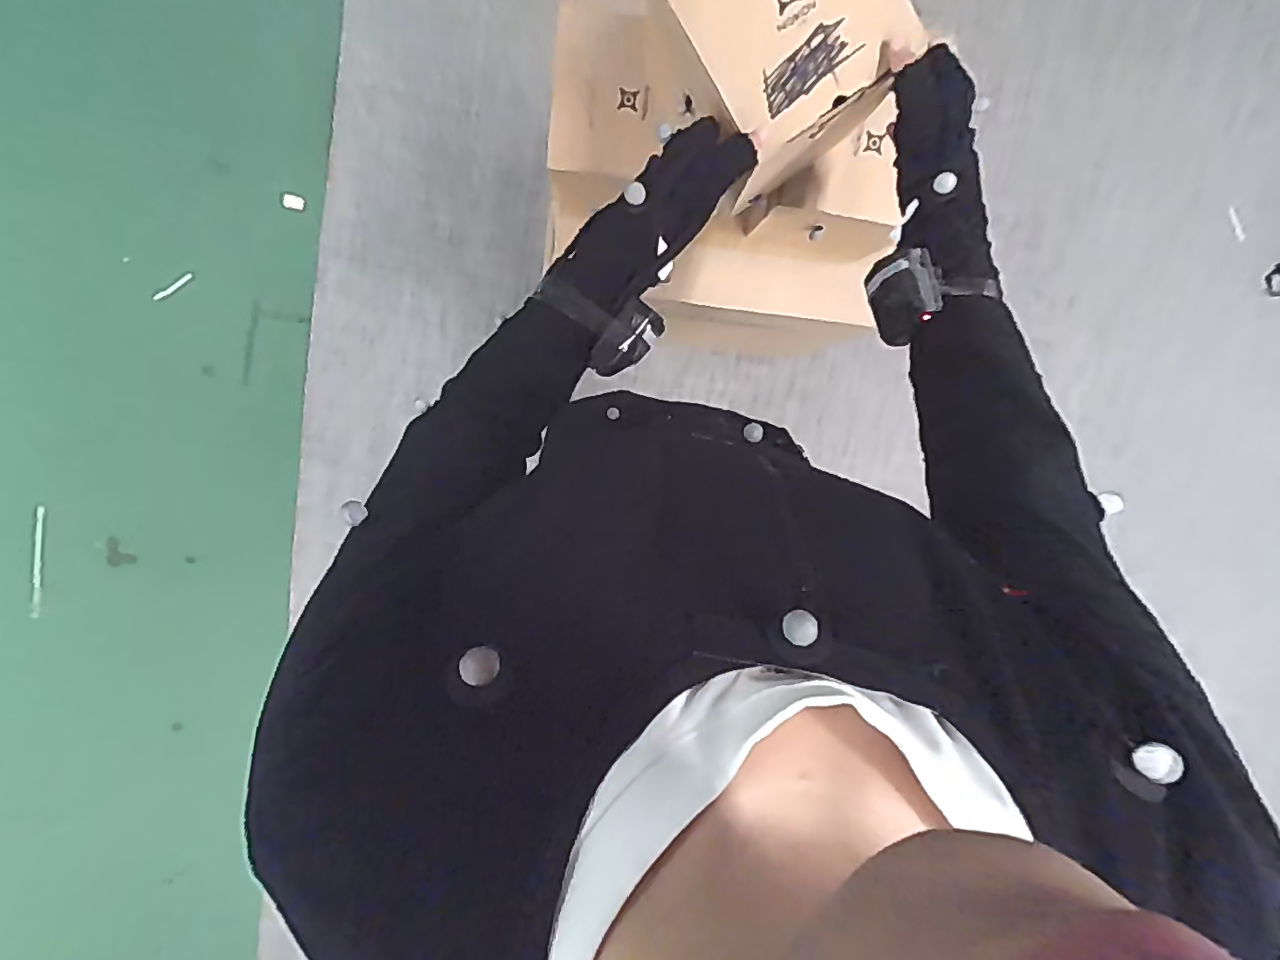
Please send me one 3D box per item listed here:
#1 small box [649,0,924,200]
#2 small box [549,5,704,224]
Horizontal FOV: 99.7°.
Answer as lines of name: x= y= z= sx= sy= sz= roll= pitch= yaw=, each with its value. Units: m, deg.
small box: x=0.121 y=-0.399 z=0.516 sx=0.168 sy=0.176 sz=0.179 roll=-33 pitch=99 yaw=5
small box: x=-0.009 y=-0.434 z=0.674 sx=0.179 sy=0.176 sz=0.168 roll=6 pitch=100 yaw=-2
